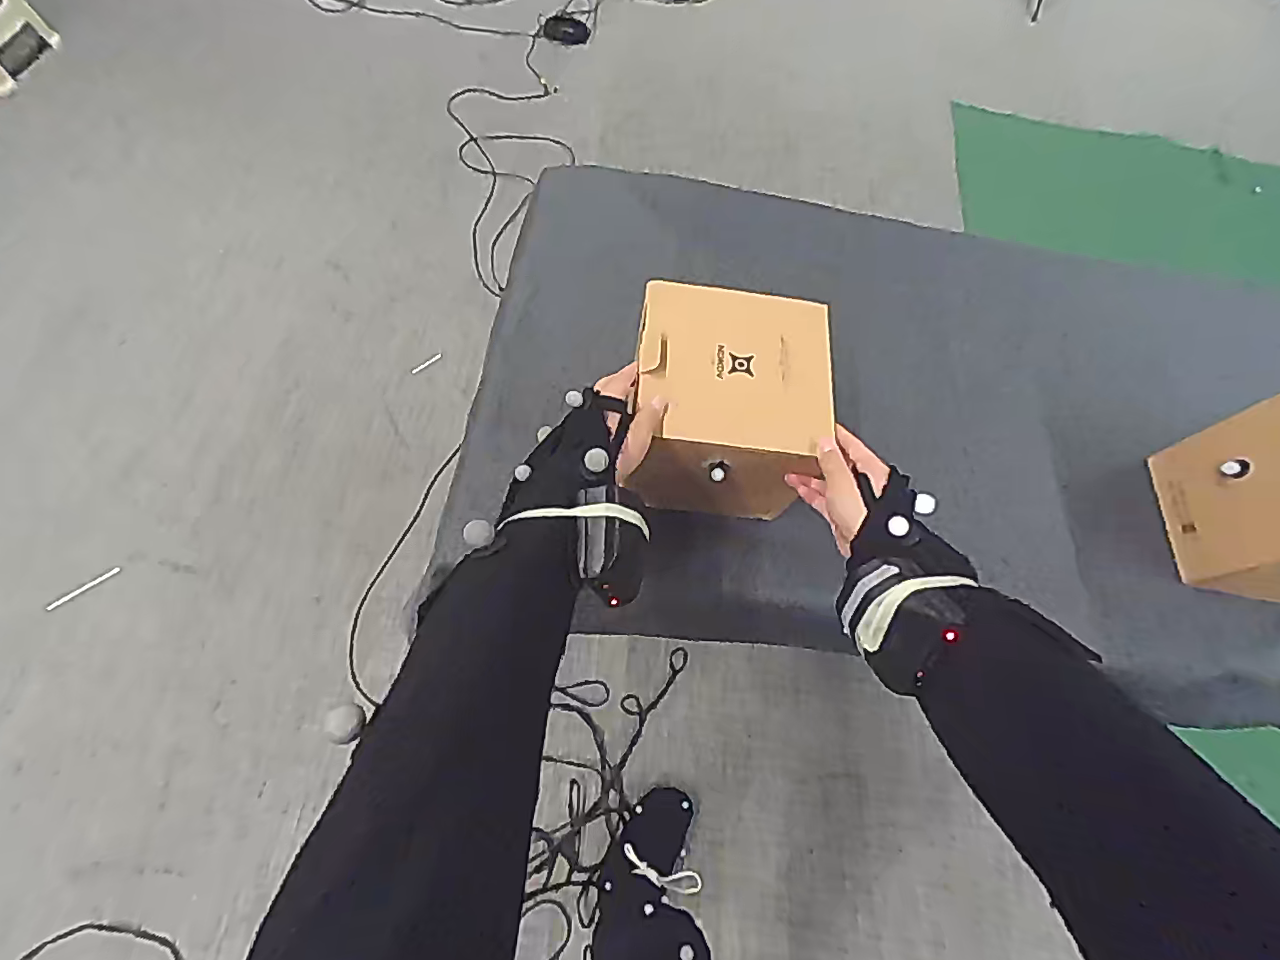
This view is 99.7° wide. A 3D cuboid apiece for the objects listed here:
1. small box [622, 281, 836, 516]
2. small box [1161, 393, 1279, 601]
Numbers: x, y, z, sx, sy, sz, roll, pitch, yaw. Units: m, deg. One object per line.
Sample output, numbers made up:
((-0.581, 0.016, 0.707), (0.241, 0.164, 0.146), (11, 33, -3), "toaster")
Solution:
((0.077, -0.071, 0.551), (0.179, 0.176, 0.168), (7, 67, -4), "small box")
((0.712, 0.027, 0.571), (0.179, 0.176, 0.168), (10, 64, -1), "small box")
